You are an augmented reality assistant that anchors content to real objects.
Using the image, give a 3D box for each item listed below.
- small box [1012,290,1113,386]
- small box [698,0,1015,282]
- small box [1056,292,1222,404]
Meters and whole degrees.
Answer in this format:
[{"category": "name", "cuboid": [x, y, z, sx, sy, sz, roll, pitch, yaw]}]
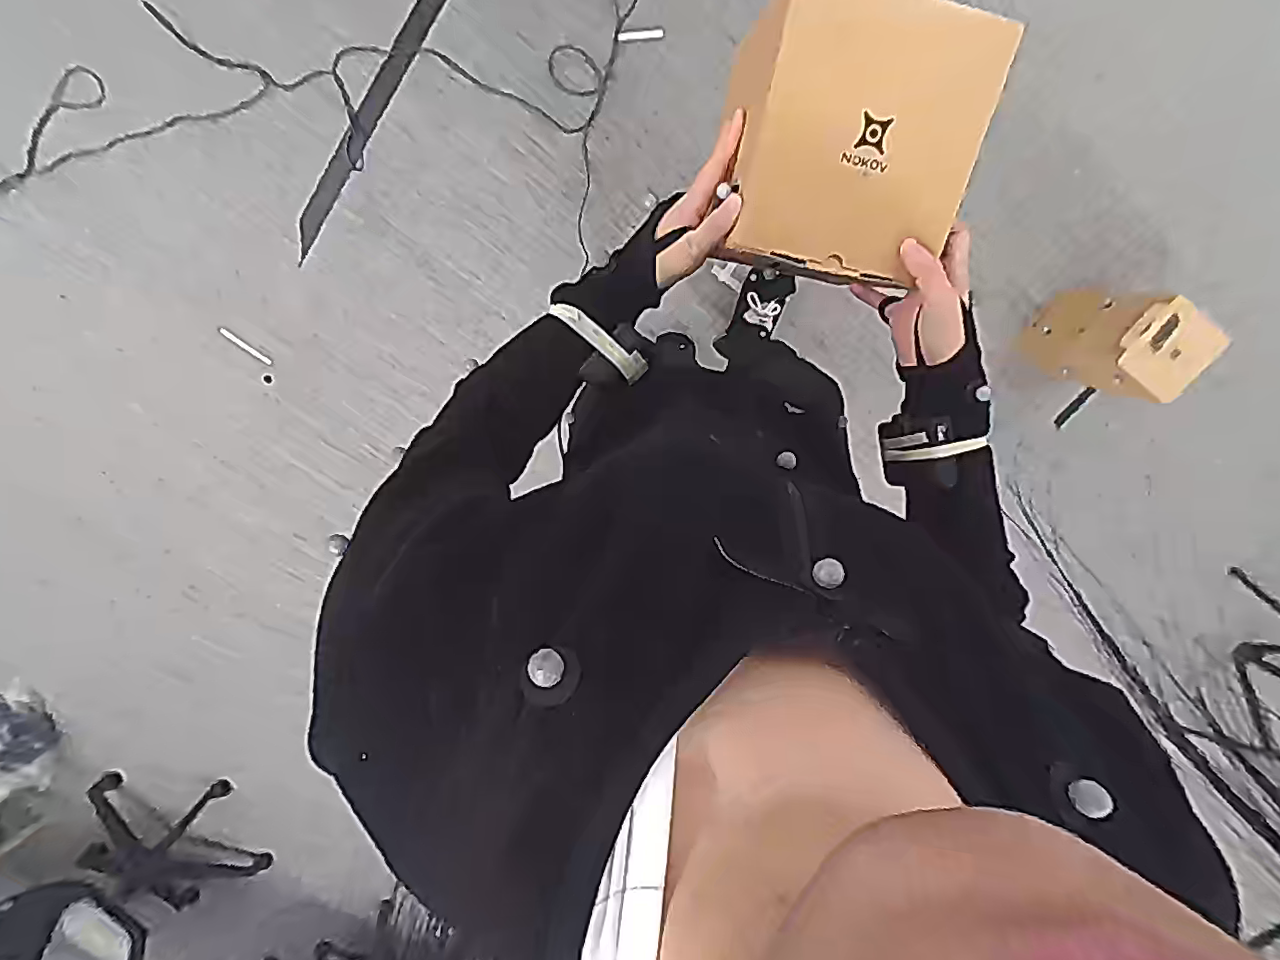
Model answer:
[{"category": "small box", "cuboid": [1.090, -0.355, 1.351, 0.179, 0.176, 0.168, 31, 107, -13]}, {"category": "small box", "cuboid": [0.155, -0.277, 0.459, 0.168, 0.176, 0.179, 8, 112, -8]}, {"category": "small box", "cuboid": [1.089, -0.295, 1.197, 0.179, 0.176, 0.168, 32, 107, -12]}]
